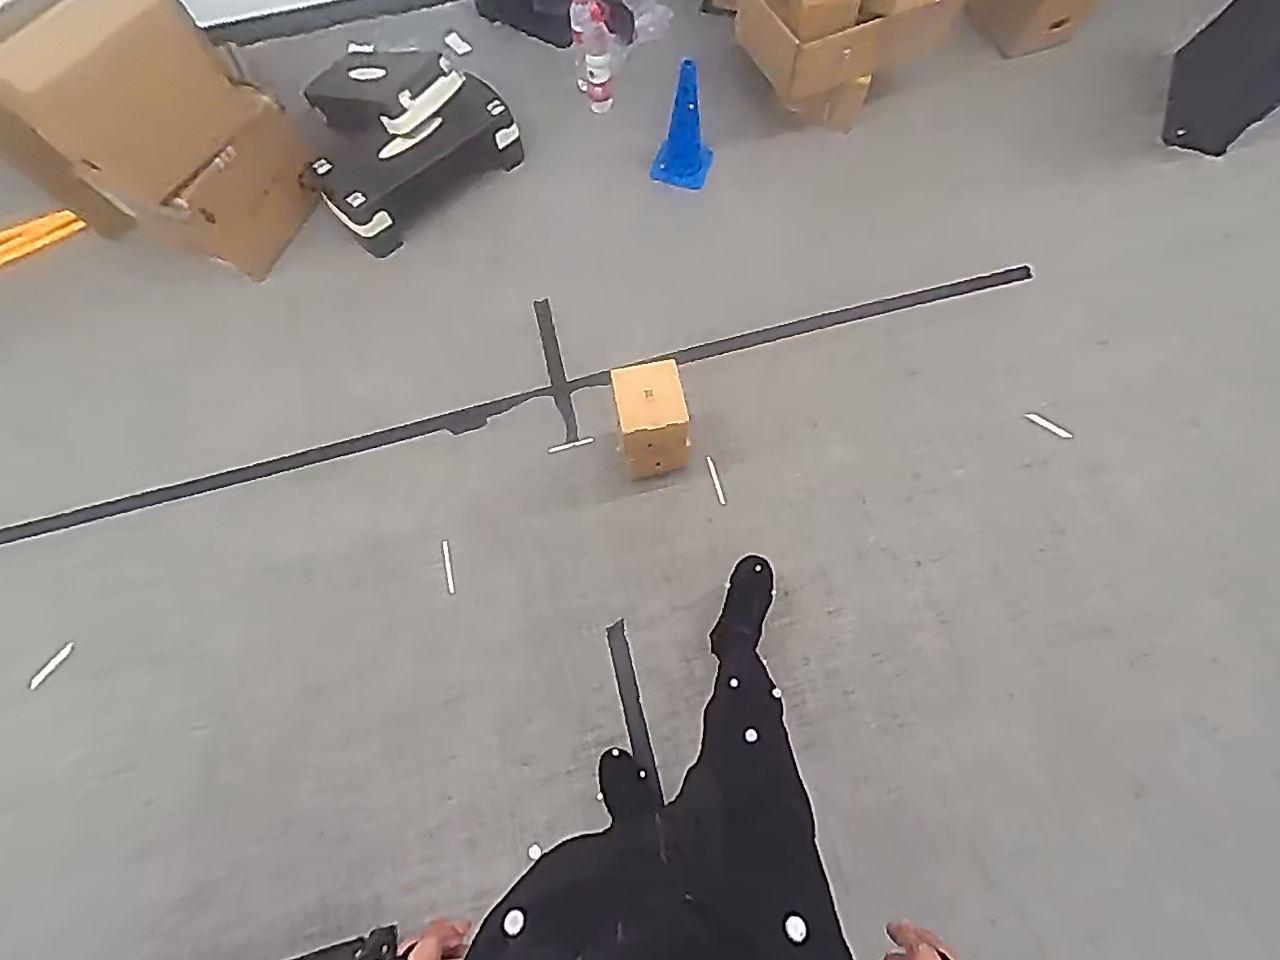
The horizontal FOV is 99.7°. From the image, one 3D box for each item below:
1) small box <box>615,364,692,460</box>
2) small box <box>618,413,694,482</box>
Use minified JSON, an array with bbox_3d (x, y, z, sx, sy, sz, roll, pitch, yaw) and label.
[{"bbox_3d":[0.032,-0.171,1.390,0.168,0.176,0.179,-10,72,-2],"label":"small box"},{"bbox_3d":[0.043,-0.109,1.541,0.179,0.176,0.168,-15,72,-3],"label":"small box"}]
